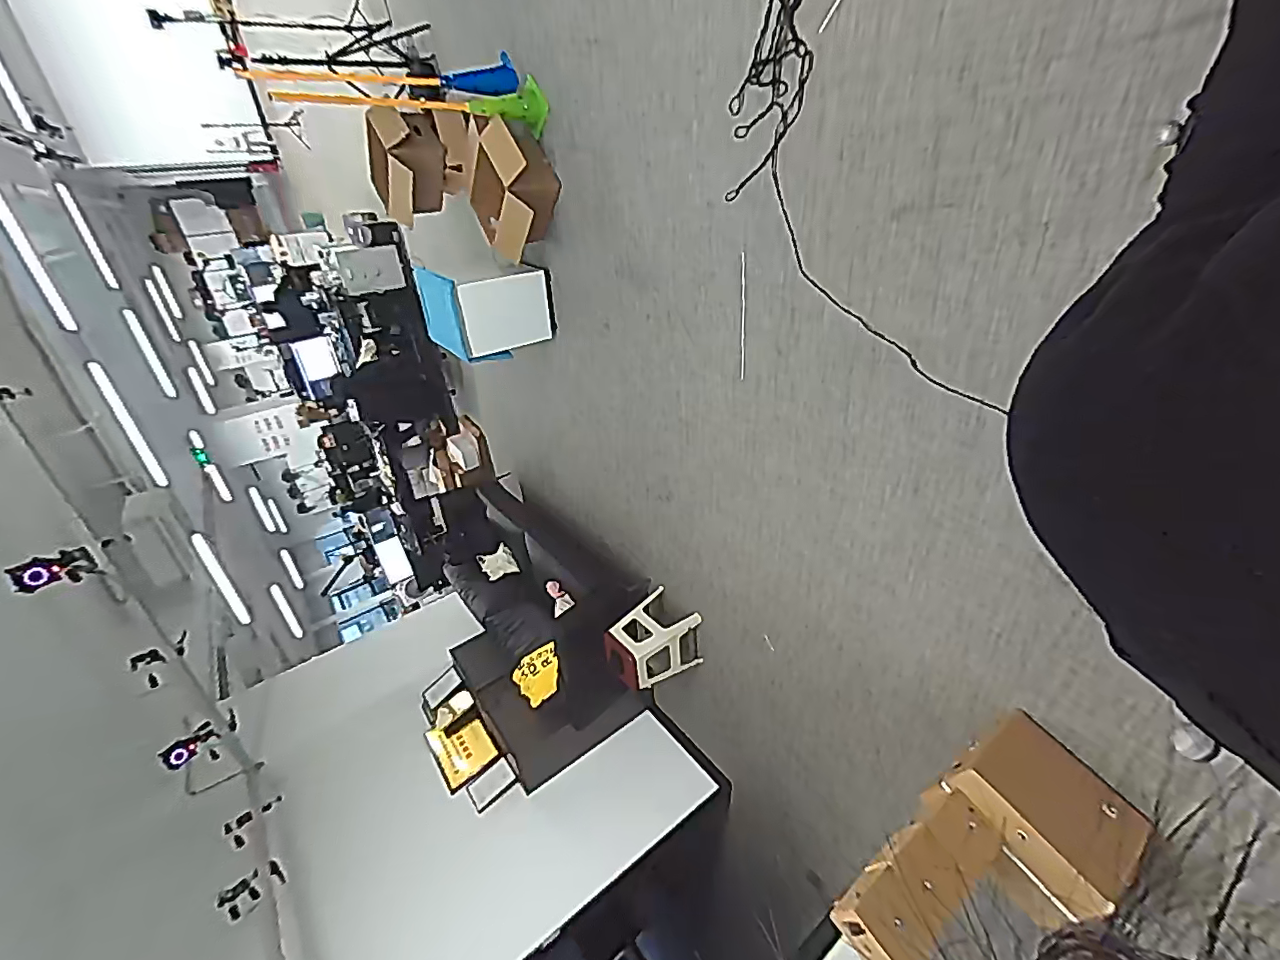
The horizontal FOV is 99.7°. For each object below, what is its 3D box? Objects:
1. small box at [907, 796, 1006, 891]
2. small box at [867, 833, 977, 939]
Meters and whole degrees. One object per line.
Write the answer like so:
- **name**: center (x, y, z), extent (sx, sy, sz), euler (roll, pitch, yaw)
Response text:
- **small box**: center (0.914, 1.064, 1.571), extent (0.168, 0.176, 0.179), euler (47, 146, 31)
- **small box**: center (0.778, 1.116, 1.499), extent (0.179, 0.176, 0.168), euler (47, 147, 30)
